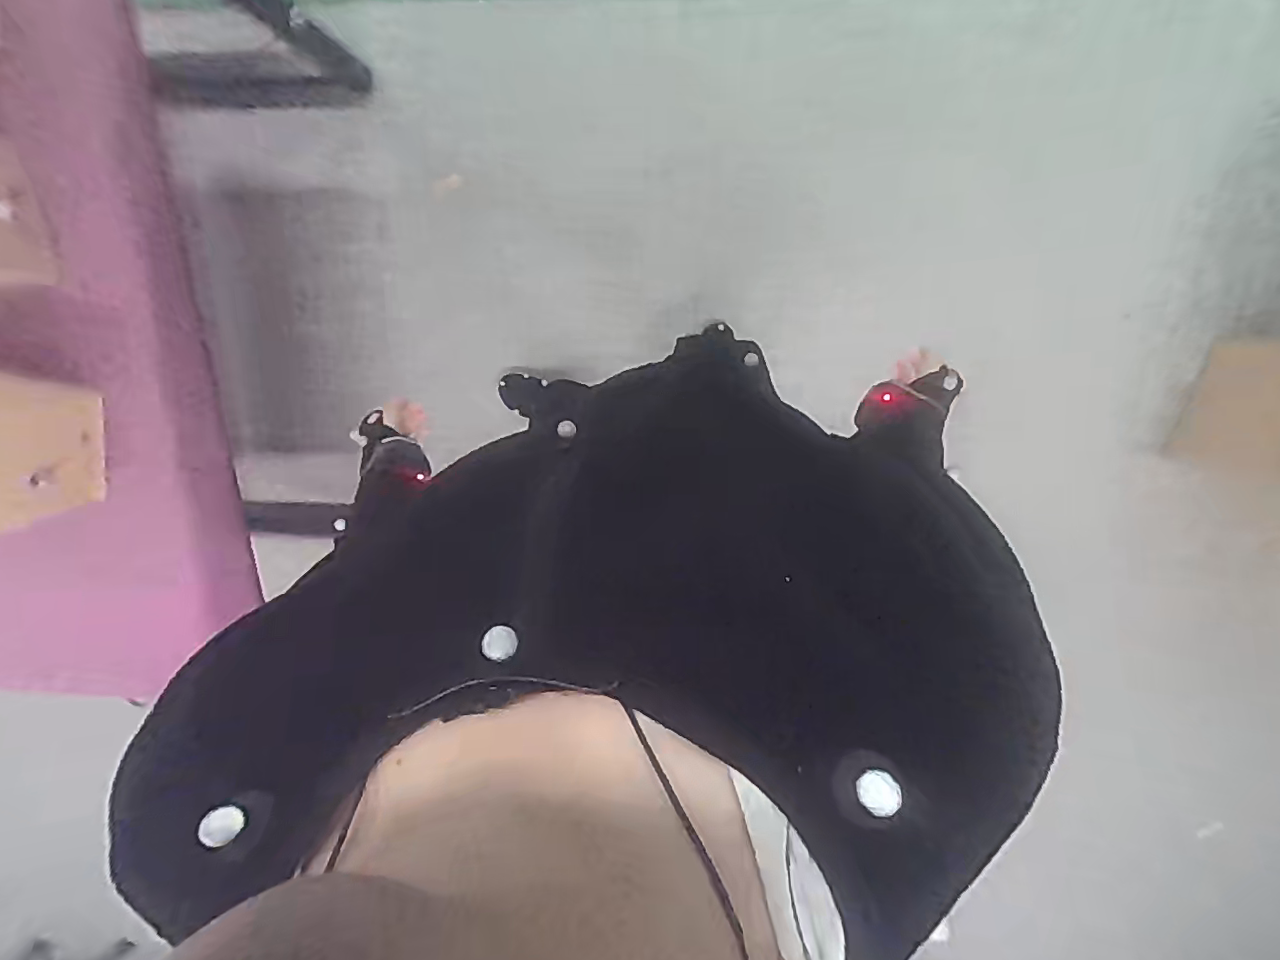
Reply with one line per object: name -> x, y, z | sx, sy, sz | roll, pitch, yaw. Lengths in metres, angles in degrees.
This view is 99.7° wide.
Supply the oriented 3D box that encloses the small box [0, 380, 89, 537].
small box -> -0.876, -0.032, 0.702 | 0.179, 0.176, 0.168 | 14, 106, -1
